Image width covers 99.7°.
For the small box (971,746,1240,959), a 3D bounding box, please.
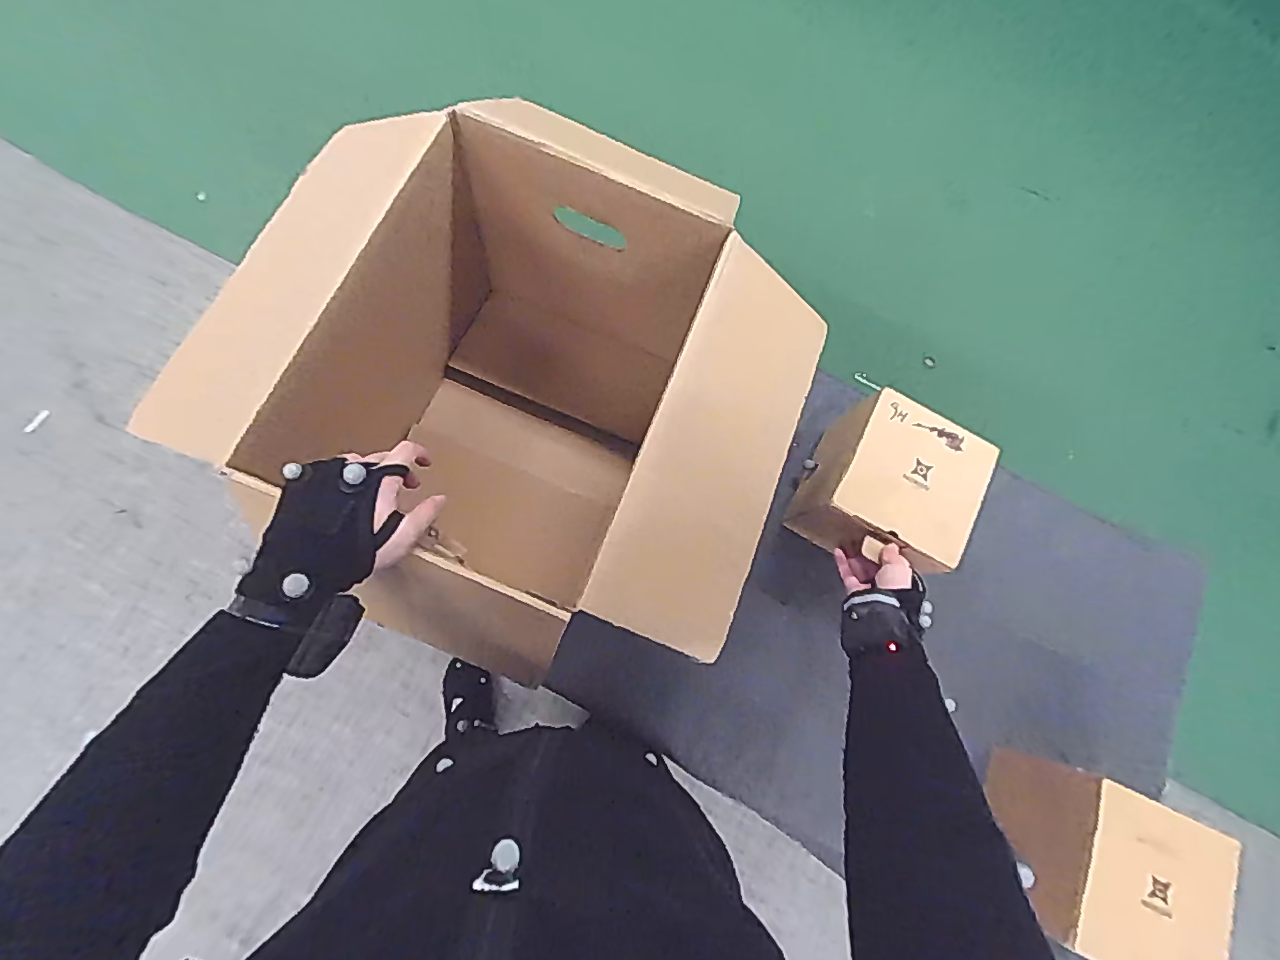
[{"bbox_3d":[0.538,0.451,0.647,0.168,0.176,0.179,26,73,1],"label":"small box"}]
